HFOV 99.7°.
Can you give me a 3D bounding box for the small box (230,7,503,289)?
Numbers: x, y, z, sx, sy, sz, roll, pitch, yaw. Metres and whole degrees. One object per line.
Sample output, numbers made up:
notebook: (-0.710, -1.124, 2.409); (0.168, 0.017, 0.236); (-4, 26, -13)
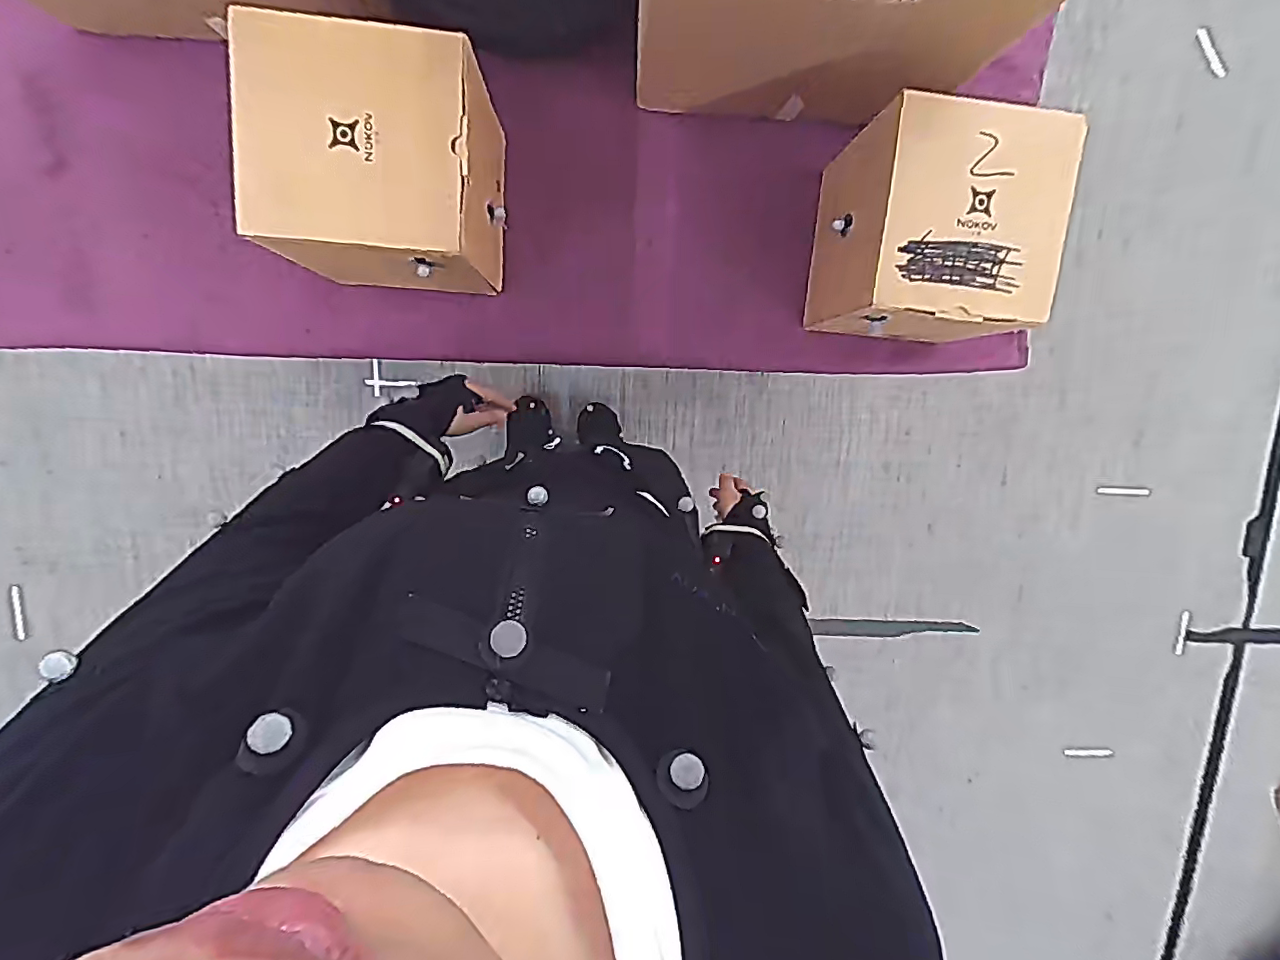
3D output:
small box: (-0.232, -0.281, 0.500); (0.179, 0.176, 0.168); (2, 97, -5)
